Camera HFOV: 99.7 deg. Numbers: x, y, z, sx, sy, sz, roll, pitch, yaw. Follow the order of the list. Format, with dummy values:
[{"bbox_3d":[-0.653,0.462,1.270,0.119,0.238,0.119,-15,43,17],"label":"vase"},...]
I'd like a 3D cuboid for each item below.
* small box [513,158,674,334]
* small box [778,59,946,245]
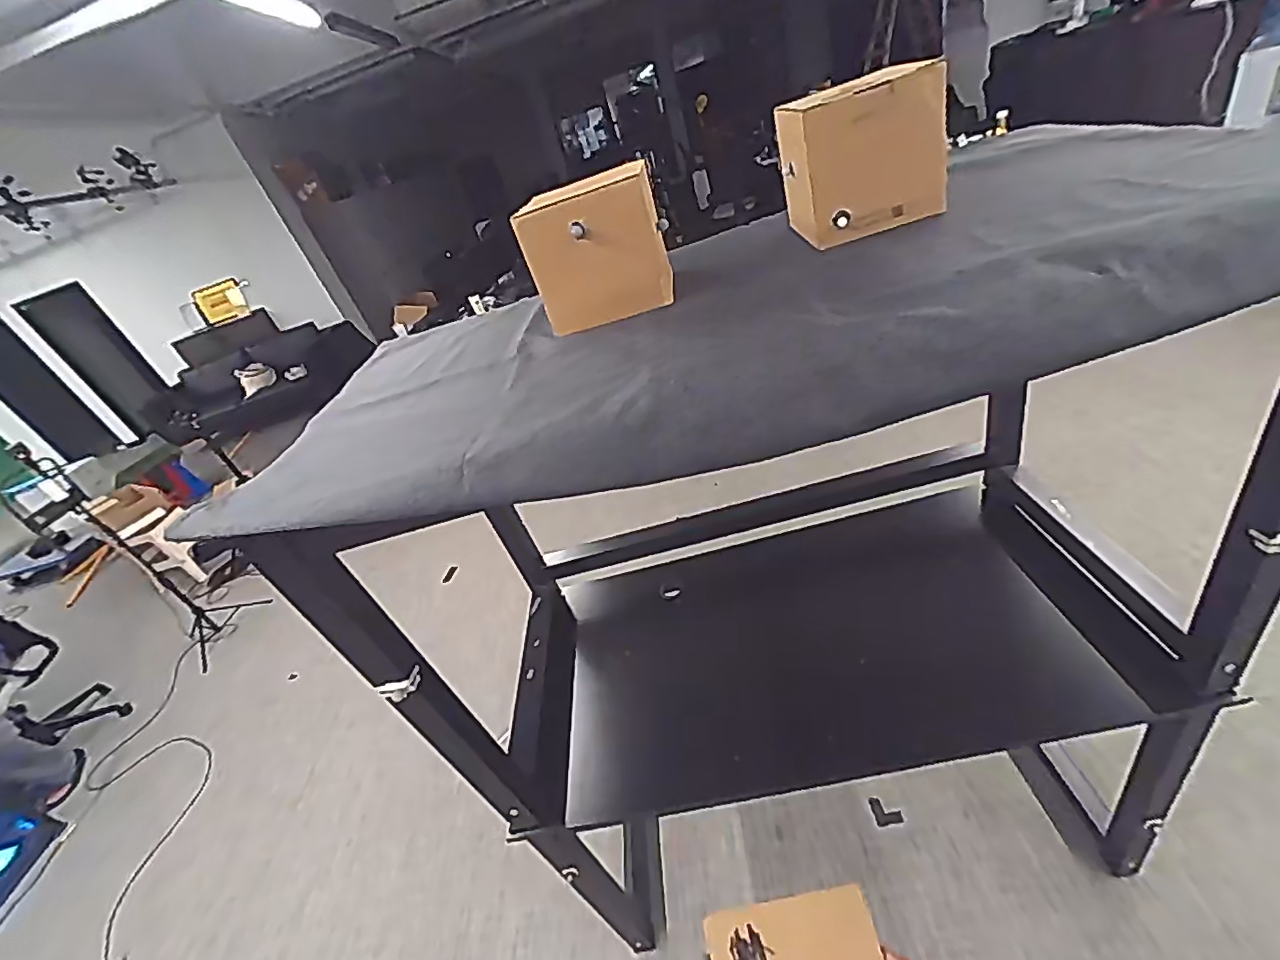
[{"bbox_3d":[-0.052,-0.333,0.774,0.179,0.176,0.168,-13,34,12],"label":"small box"},{"bbox_3d":[0.298,-0.439,0.739,0.168,0.176,0.179,-13,33,10],"label":"small box"}]
